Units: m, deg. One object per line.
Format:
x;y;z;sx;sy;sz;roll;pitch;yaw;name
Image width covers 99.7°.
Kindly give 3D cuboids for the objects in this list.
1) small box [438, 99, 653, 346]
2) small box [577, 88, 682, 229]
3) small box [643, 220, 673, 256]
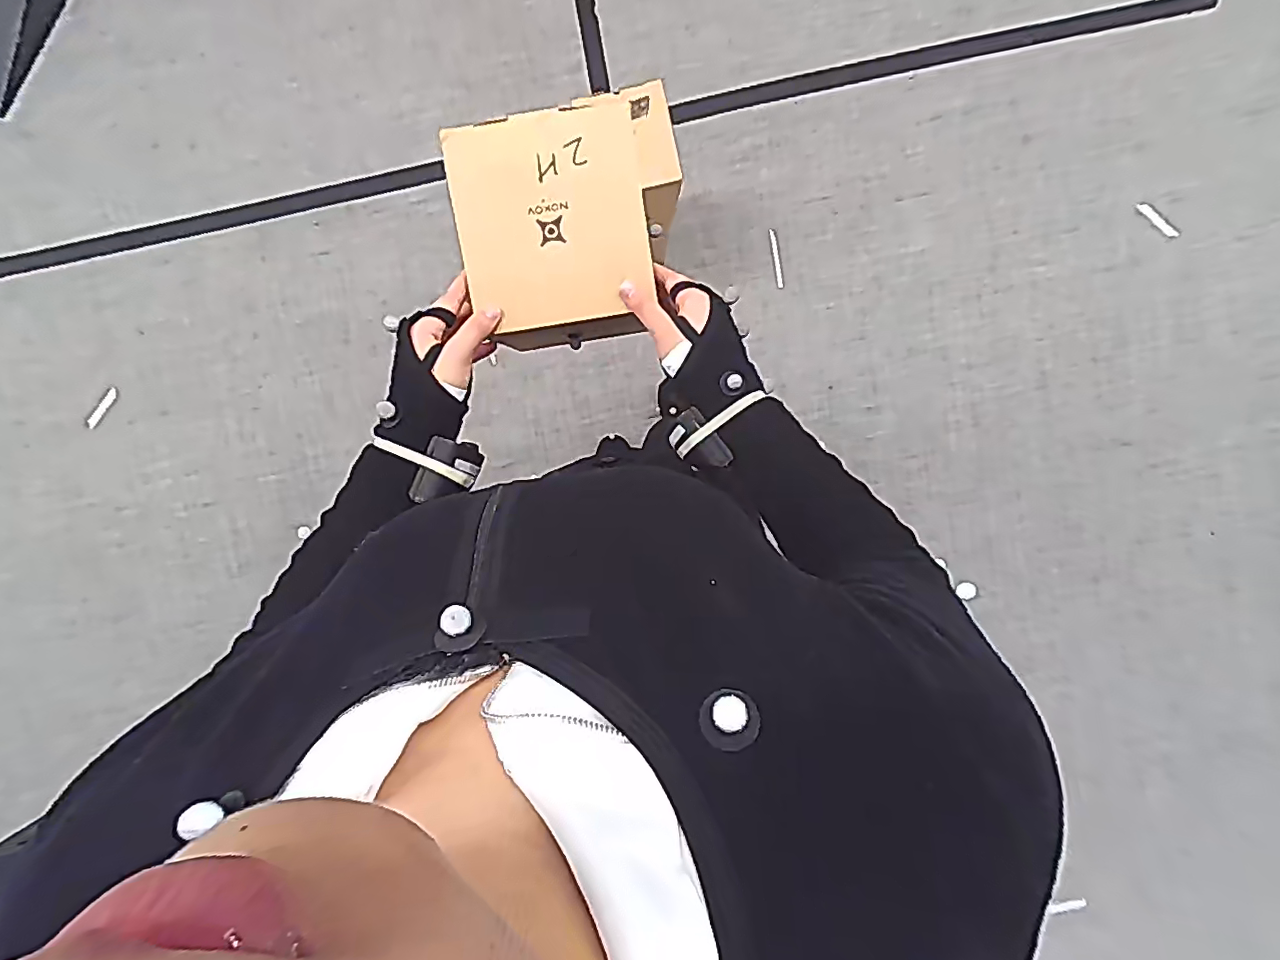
-0.078;-0.237;0.549;0.168;0.176;0.179;-9;98;2;small box
-0.023;-0.598;1.039;0.168;0.176;0.179;-13;95;1;small box
-0.028;-0.609;1.204;0.168;0.176;0.179;-13;93;1;small box
